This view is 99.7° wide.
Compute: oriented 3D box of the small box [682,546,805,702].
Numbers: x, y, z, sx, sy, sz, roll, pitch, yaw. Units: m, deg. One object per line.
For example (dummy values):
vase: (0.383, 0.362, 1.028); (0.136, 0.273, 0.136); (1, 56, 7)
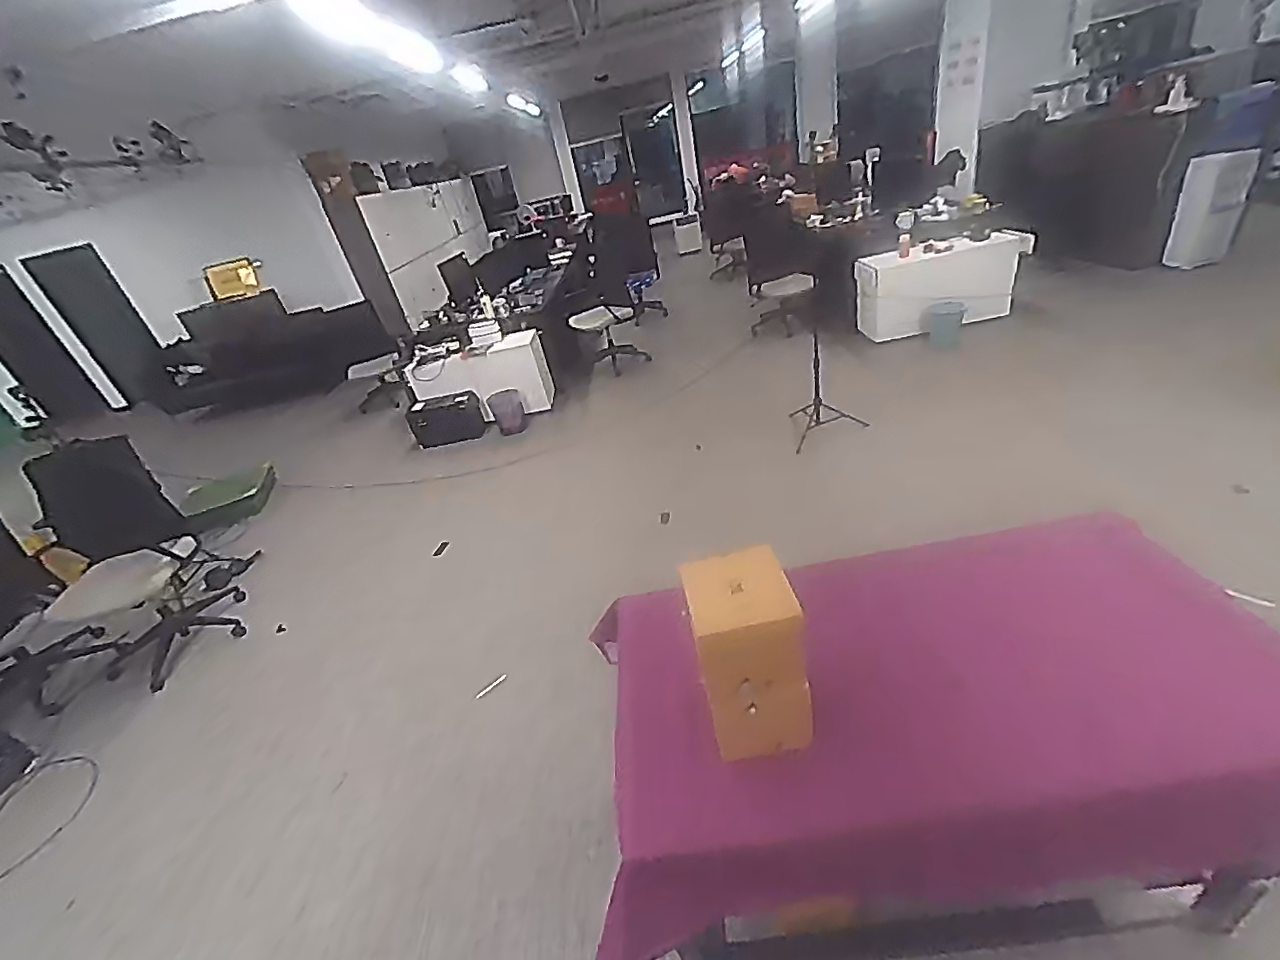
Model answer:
small box: (0.172, 0.243, 0.921); (0.168, 0.176, 0.179); (-12, 31, 2)

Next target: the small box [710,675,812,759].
small box: (0.211, 0.380, 1.002); (0.168, 0.176, 0.179); (-12, 31, 3)
